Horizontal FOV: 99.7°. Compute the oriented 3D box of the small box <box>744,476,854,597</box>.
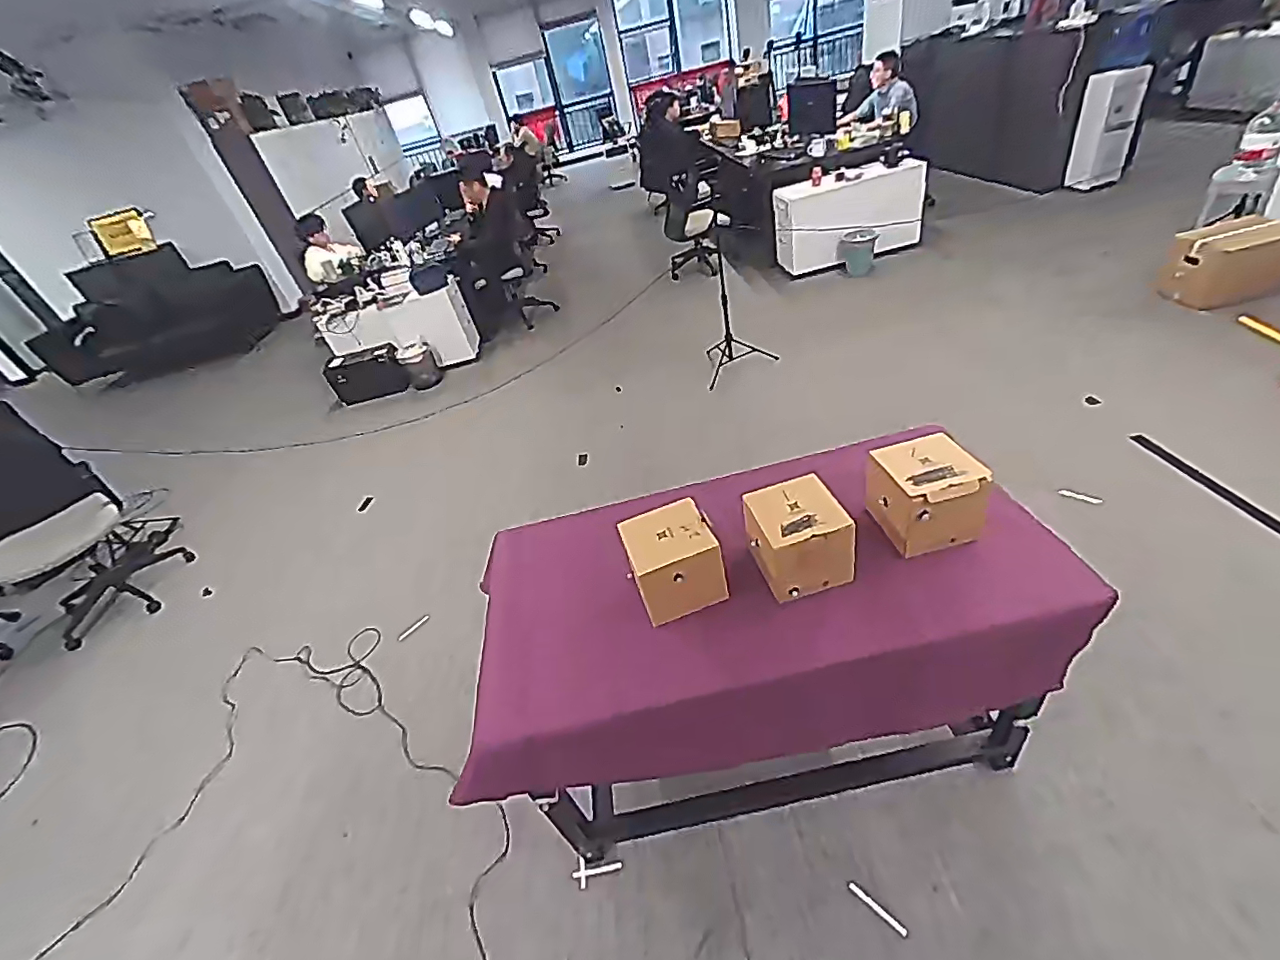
[{"bbox_3d":[0.332,0.124,1.135,0.168,0.176,0.179,-17,36,-2],"label":"small box"}]

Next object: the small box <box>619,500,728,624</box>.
[{"bbox_3d":[0.073,0.178,1.158,0.179,0.176,0.168,-19,38,-5],"label":"small box"}]
